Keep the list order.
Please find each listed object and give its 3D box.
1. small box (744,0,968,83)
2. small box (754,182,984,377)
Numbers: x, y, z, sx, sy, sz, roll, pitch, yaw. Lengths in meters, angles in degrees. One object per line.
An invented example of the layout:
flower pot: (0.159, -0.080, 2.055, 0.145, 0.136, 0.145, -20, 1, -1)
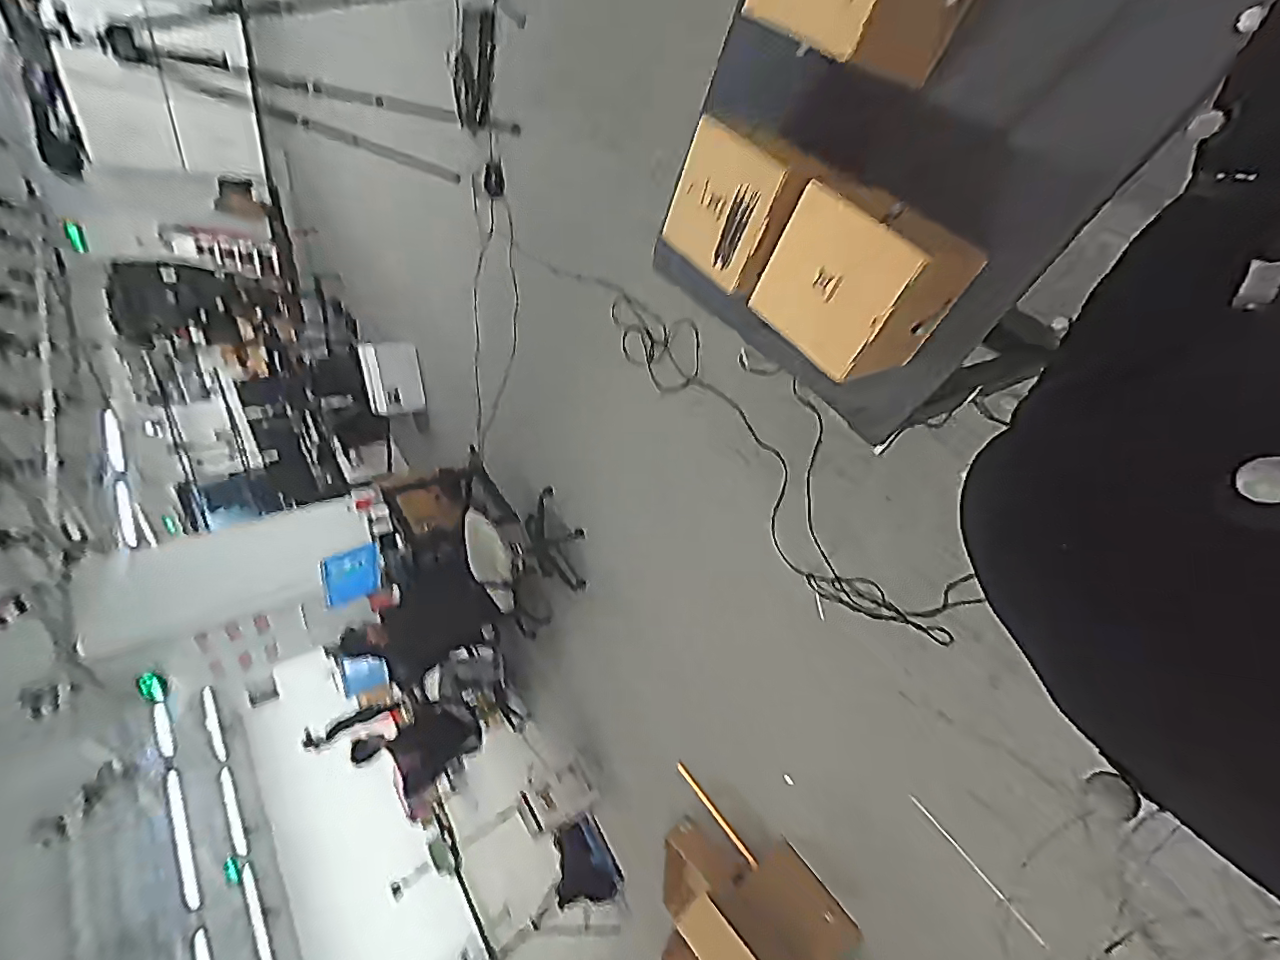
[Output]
small box: (0.258, -0.577, 0.605, 0.179, 0.176, 0.168, 51, 139, 26)
small box: (0.289, -0.256, 0.699, 0.179, 0.176, 0.168, 51, 139, 26)
